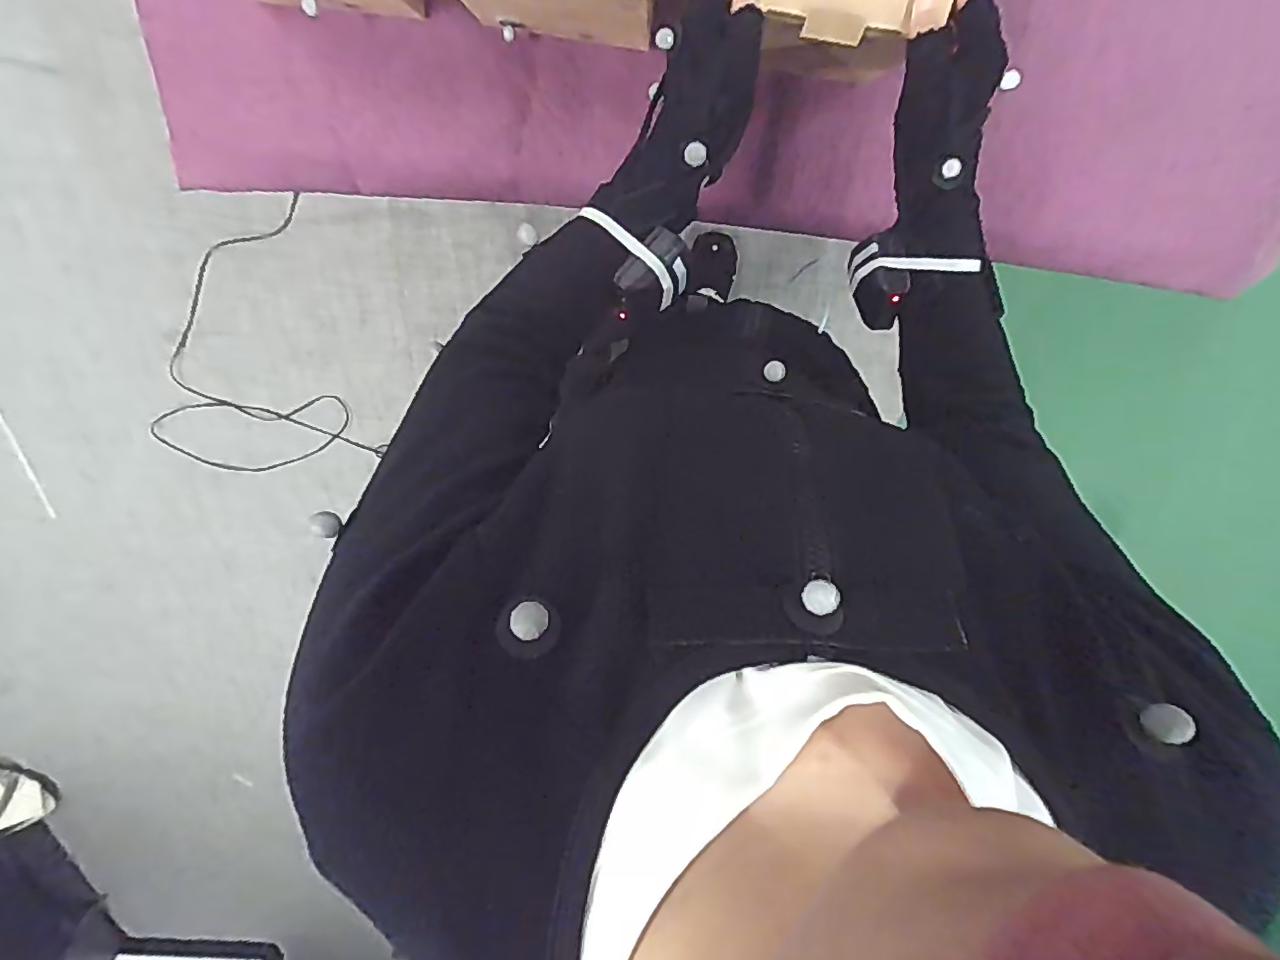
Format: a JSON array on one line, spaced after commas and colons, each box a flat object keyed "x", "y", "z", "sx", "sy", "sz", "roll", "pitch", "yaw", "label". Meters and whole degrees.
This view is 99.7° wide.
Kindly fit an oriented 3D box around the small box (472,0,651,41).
[{"x": -0.066, "y": -0.479, "z": 0.425, "sx": 0.168, "sy": 0.176, "sz": 0.179, "roll": 6, "pitch": 117, "yaw": -3, "label": "small box"}]

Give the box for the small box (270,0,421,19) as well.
[{"x": -0.285, "y": -0.499, "z": 0.416, "sx": 0.168, "sy": 0.176, "sz": 0.179, "roll": 6, "pitch": 118, "yaw": -2, "label": "small box"}]
